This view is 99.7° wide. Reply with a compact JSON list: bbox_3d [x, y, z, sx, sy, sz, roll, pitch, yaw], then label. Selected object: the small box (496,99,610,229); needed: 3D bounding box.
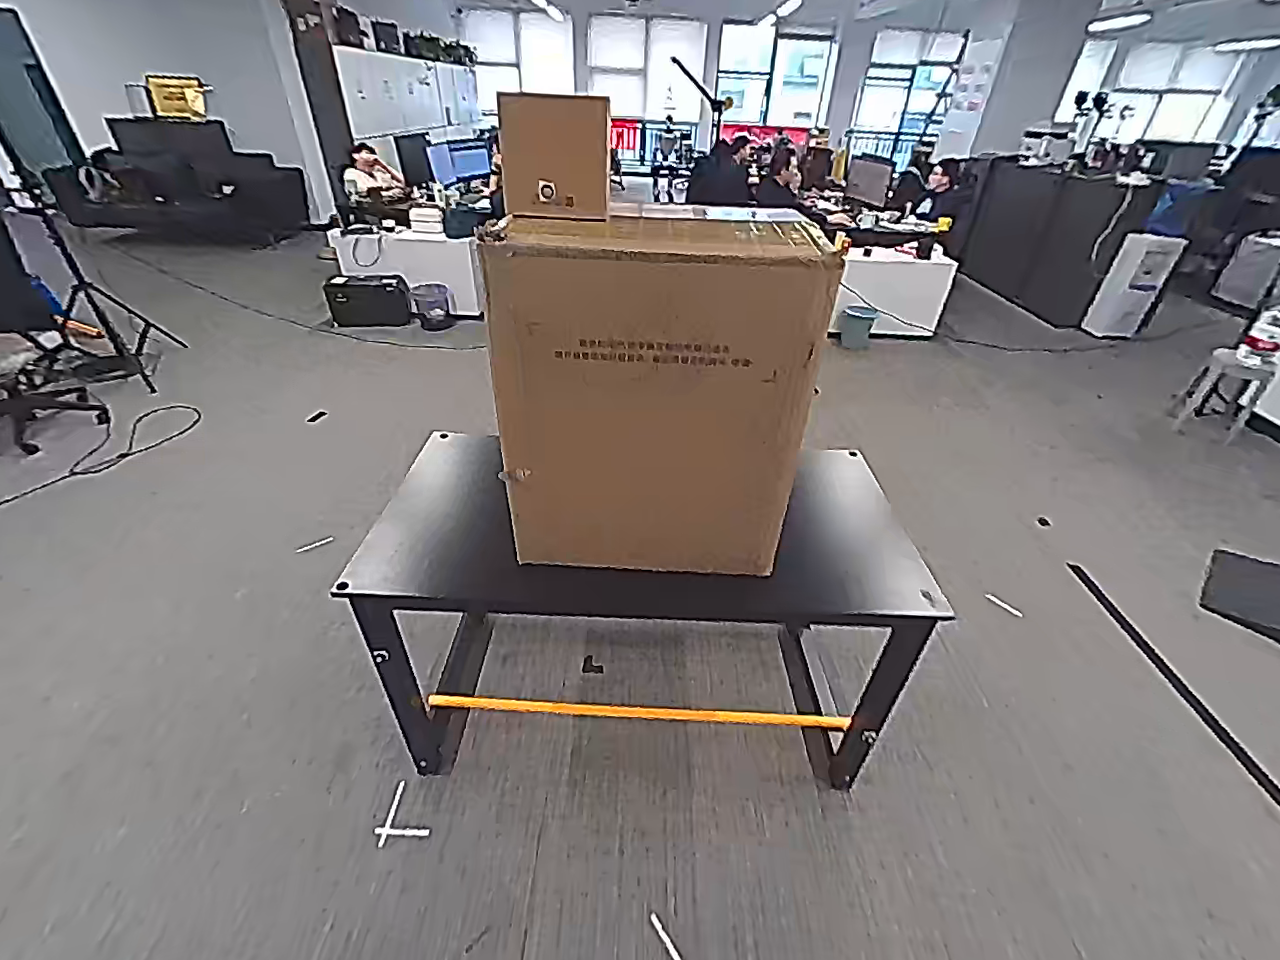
[{"bbox_3d":[-0.134,-0.526,0.900,0.168,0.176,0.179,0,34,-3],"label":"small box"}]
